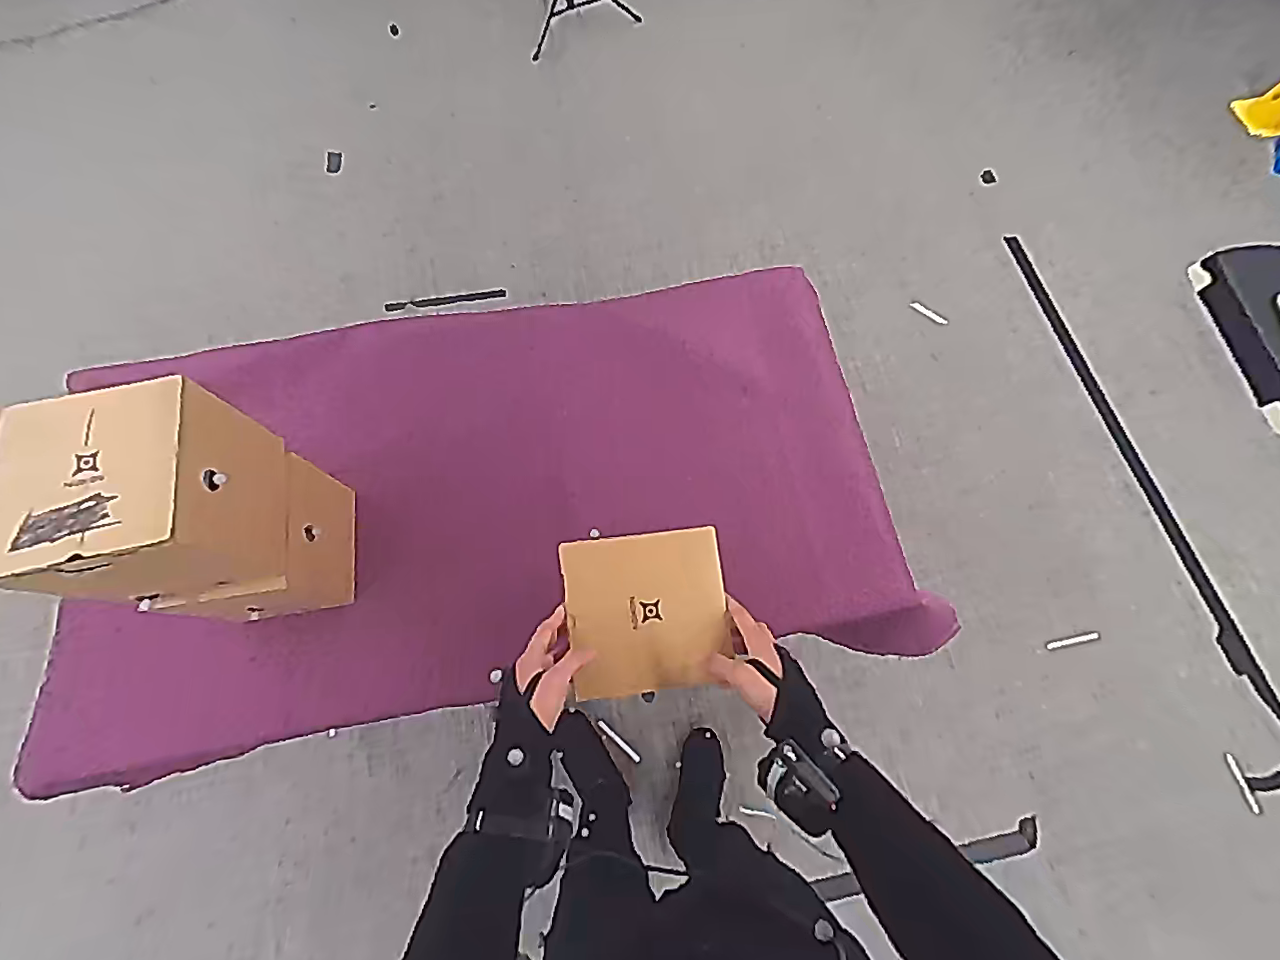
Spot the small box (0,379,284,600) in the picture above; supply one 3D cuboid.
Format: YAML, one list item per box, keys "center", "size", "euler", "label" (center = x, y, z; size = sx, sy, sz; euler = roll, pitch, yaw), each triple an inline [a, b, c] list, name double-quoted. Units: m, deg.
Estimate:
- center: [-0.506, 0.022, 0.571]
  size: [0.168, 0.176, 0.179]
  euler: [-12, 71, -6]
  label: "small box"

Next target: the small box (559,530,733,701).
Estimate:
- center: [0.002, 0.156, 0.659]
  size: [0.179, 0.176, 0.168]
  euler: [-6, 80, -3]
  label: "small box"

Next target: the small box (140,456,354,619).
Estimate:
- center: [-0.504, 0.086, 0.723]
  size: [0.168, 0.176, 0.179]
  euler: [-8, 71, -5]
  label: "small box"
